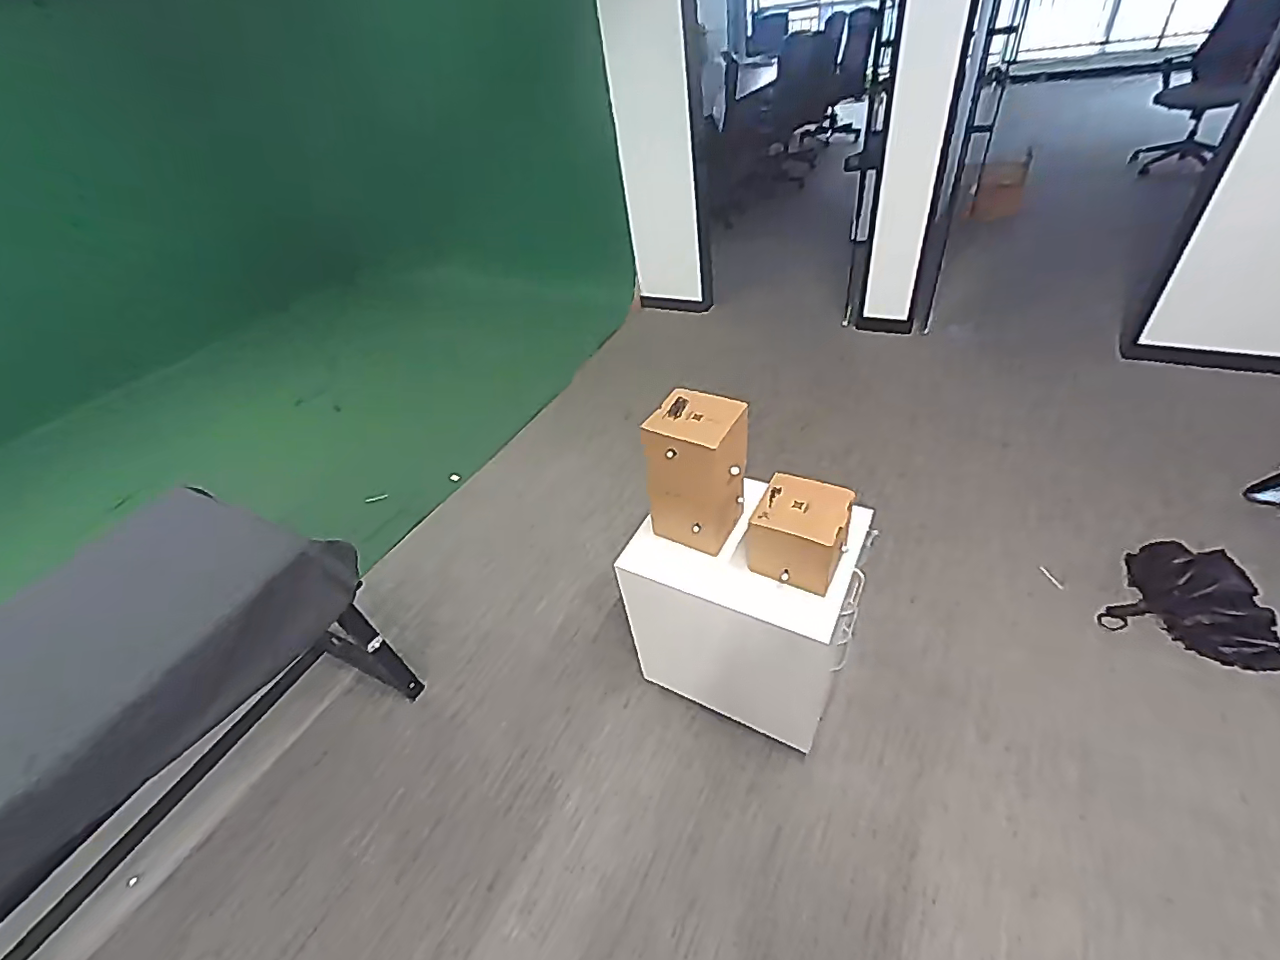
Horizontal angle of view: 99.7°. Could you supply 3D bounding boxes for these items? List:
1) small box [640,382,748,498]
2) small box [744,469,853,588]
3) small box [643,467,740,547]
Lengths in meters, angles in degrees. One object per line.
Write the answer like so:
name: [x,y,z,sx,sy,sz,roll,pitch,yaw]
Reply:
small box: [0.119,-0.086,1.177,0.179,0.176,0.168,20,49,25]
small box: [0.339,0.108,1.174,0.179,0.176,0.168,19,49,26]
small box: [0.129,0.036,1.288,0.179,0.176,0.168,17,47,26]
